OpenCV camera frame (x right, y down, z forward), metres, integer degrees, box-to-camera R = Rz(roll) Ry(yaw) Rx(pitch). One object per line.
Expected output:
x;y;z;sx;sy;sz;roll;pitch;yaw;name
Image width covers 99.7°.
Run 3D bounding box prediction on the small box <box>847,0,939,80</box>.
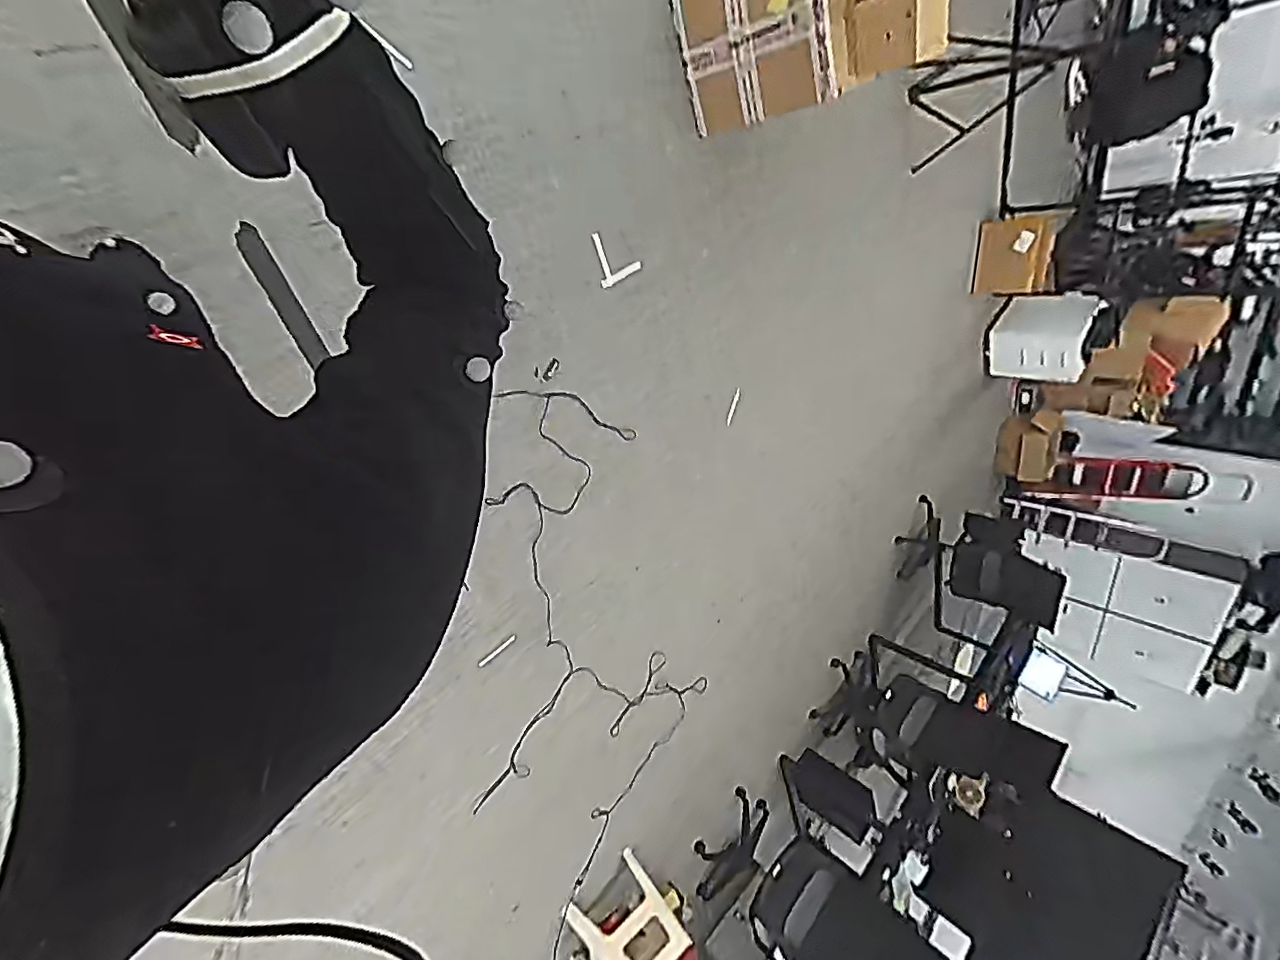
0.679;-1.208;1.448;0.179;0.176;0.168;-39;130;-26;small box
